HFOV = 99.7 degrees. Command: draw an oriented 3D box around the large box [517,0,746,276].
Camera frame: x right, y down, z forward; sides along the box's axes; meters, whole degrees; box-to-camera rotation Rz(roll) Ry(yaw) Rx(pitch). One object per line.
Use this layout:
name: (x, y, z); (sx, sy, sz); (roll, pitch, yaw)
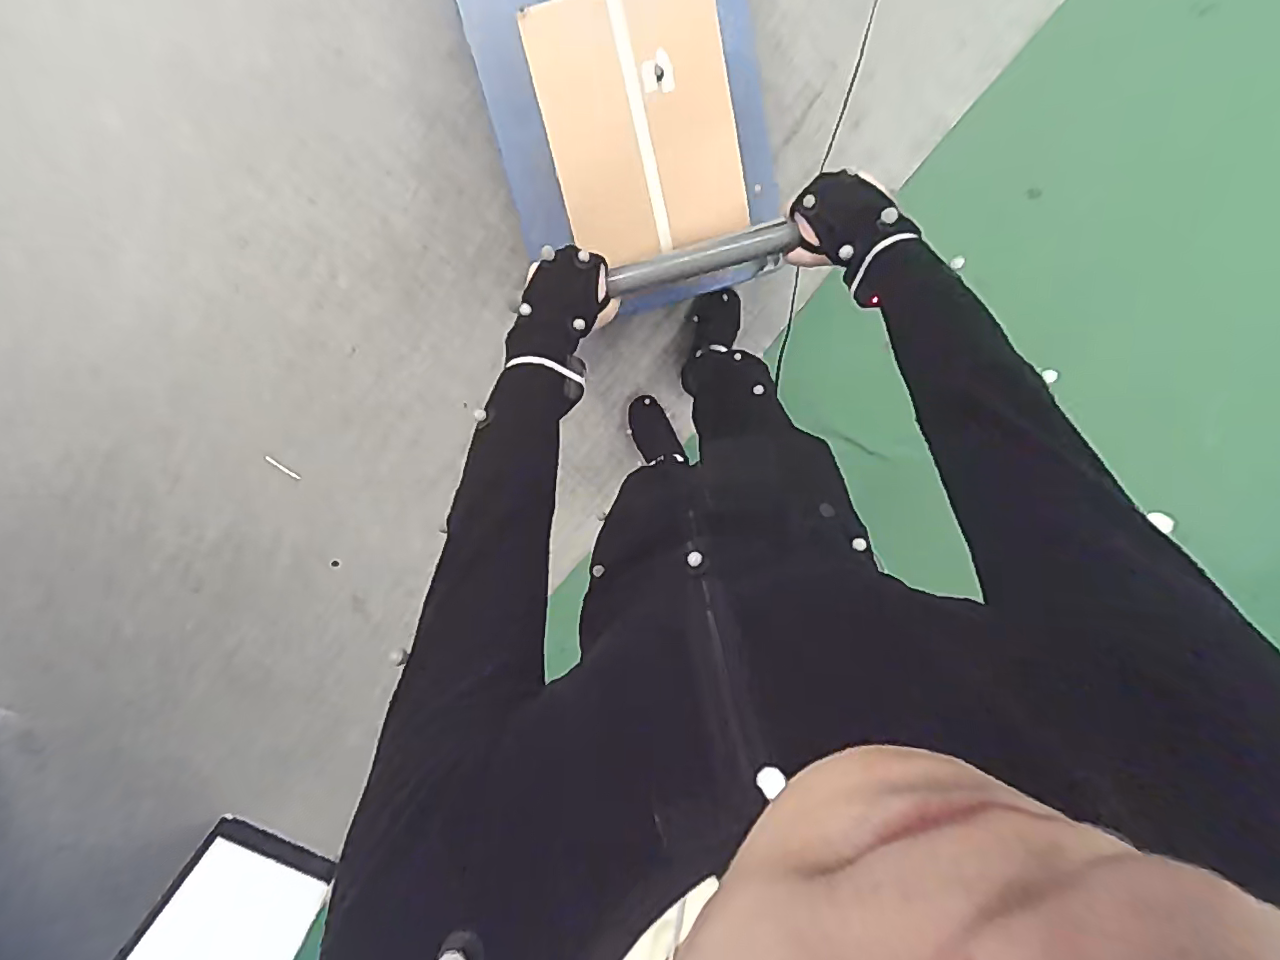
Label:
large box: (-0.003, -0.650, 1.065); (0.320, 0.320, 0.408); (-13, 108, 4)
